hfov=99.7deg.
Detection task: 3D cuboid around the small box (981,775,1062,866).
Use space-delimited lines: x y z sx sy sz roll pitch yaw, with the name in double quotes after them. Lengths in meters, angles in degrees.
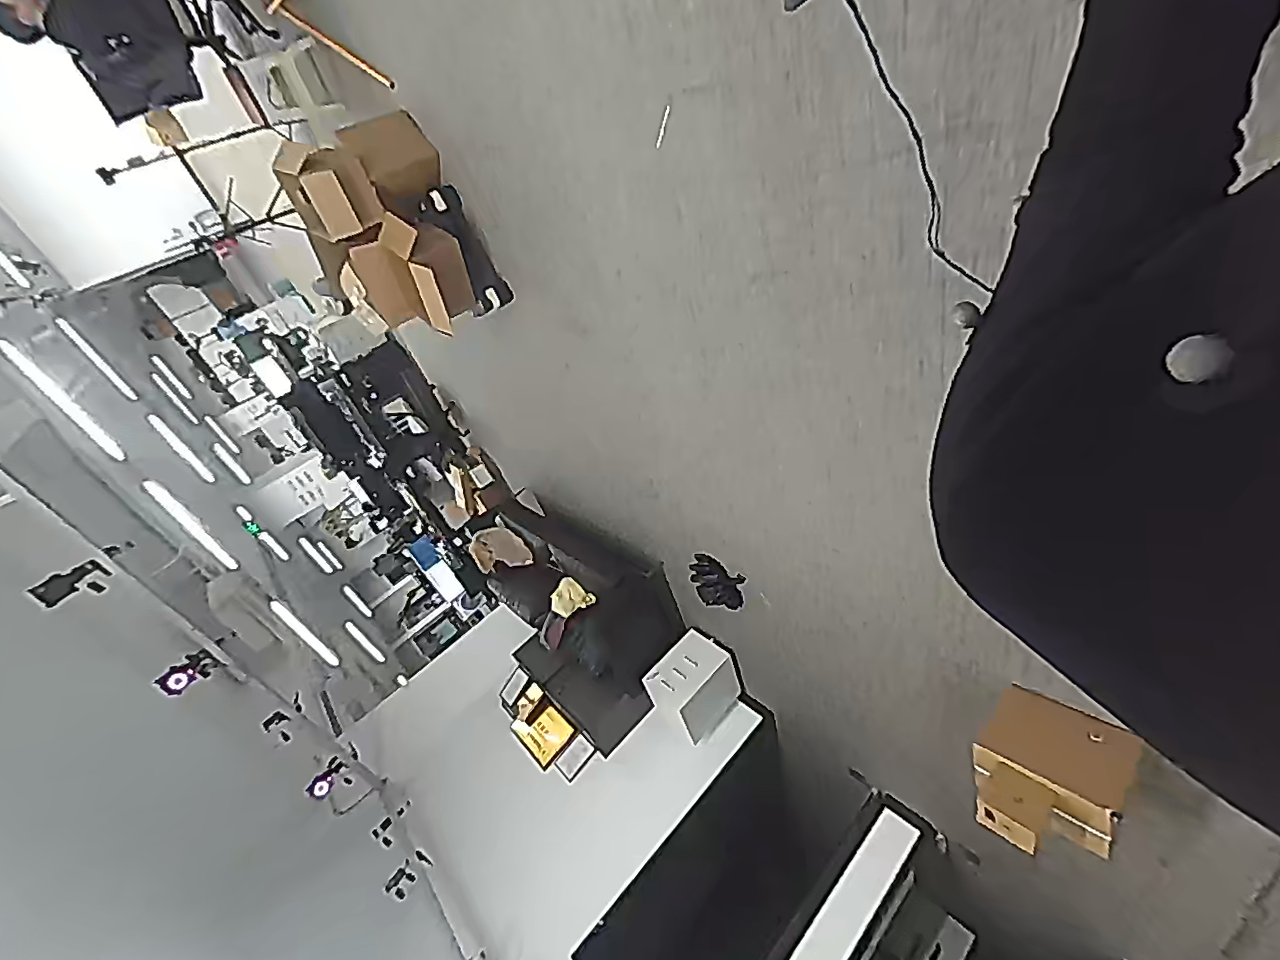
1.289 1.140 1.832 0.179 0.176 0.168 20 140 47 "small box"
